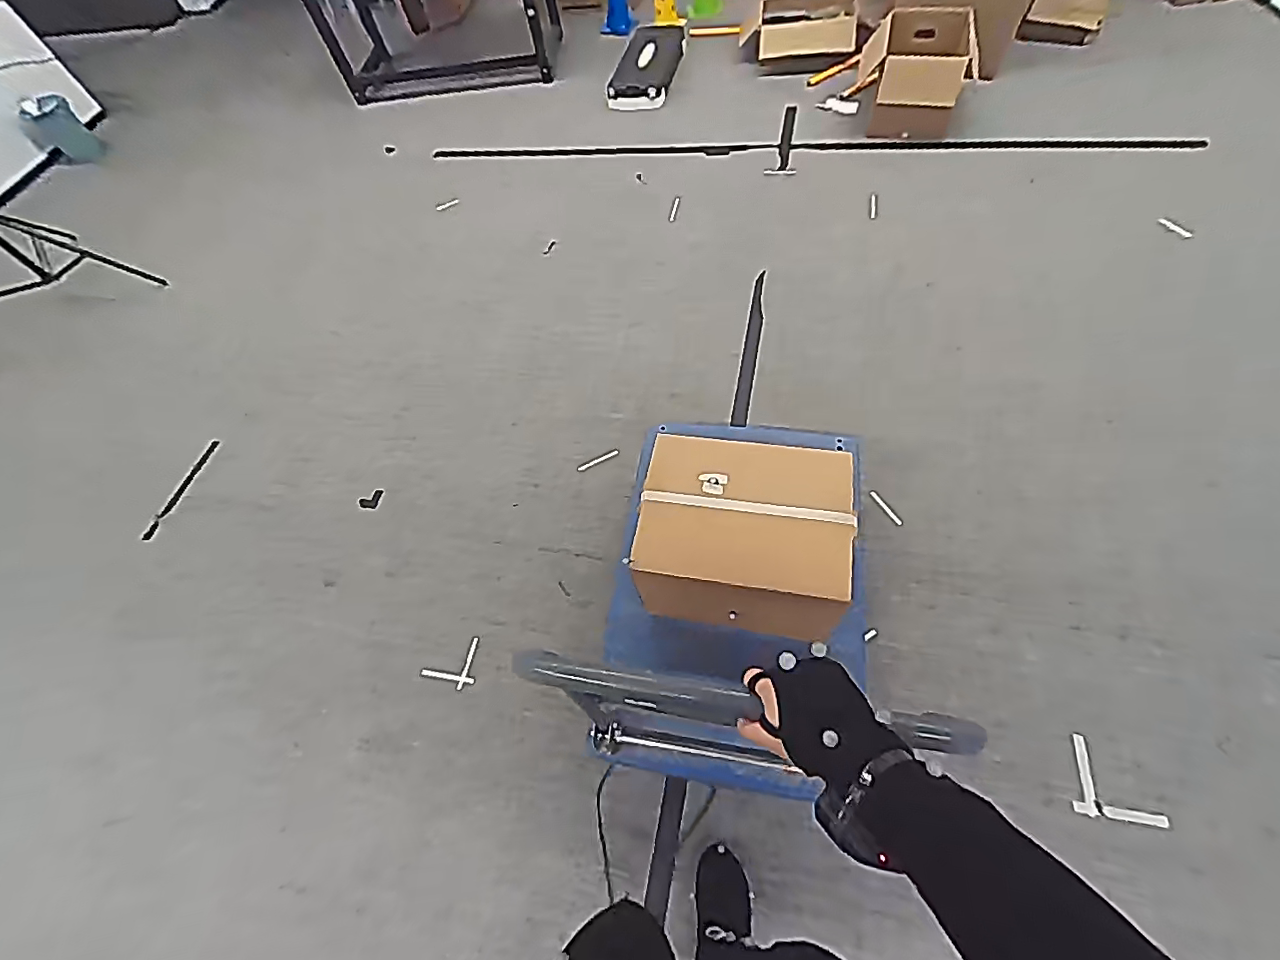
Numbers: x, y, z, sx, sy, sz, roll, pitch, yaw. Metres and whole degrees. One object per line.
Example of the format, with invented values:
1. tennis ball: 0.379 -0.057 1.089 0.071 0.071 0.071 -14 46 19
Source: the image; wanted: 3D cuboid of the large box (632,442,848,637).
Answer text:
1. large box: 0.224 0.137 1.198 0.408 0.320 0.320 6 60 12
